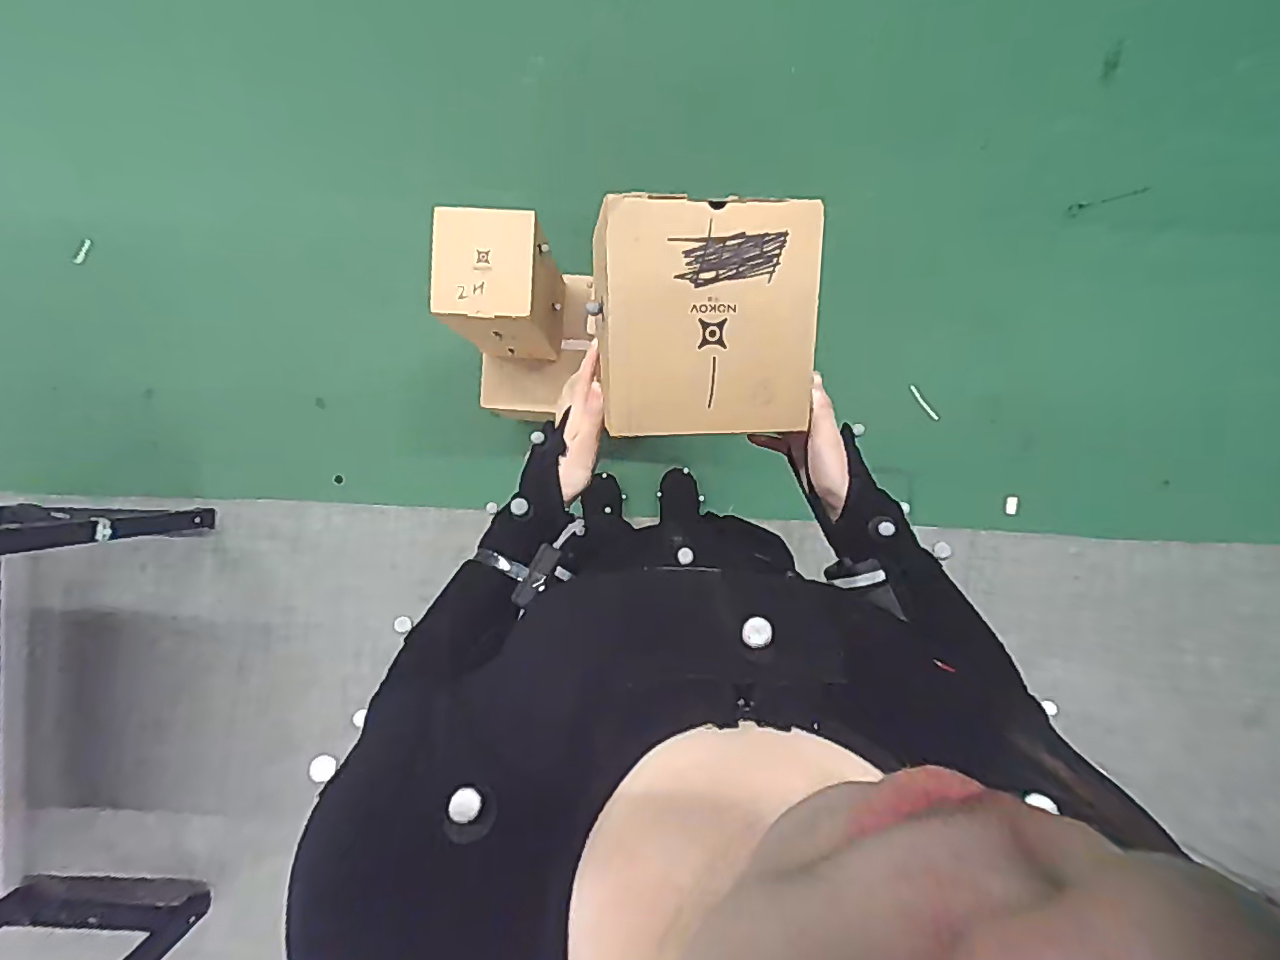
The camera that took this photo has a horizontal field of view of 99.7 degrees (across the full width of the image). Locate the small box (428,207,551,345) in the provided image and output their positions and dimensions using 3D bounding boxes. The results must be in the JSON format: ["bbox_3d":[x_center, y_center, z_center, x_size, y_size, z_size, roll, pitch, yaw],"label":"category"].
[{"bbox_3d":[-0.253,-0.347,0.945,0.168,0.176,0.179,3,91,1],"label":"small box"}]

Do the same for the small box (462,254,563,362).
[{"bbox_3d":[-0.253,-0.351,1.110,0.168,0.176,0.179,4,91,0],"label":"small box"}]

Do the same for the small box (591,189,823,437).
[{"bbox_3d":[0.043,-0.138,0.480,0.168,0.176,0.179,-2,105,-7],"label":"small box"}]

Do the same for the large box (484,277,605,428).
[{"bbox_3d":[-0.146,-0.298,1.351,0.408,0.320,0.320,4,92,0],"label":"large box"}]
